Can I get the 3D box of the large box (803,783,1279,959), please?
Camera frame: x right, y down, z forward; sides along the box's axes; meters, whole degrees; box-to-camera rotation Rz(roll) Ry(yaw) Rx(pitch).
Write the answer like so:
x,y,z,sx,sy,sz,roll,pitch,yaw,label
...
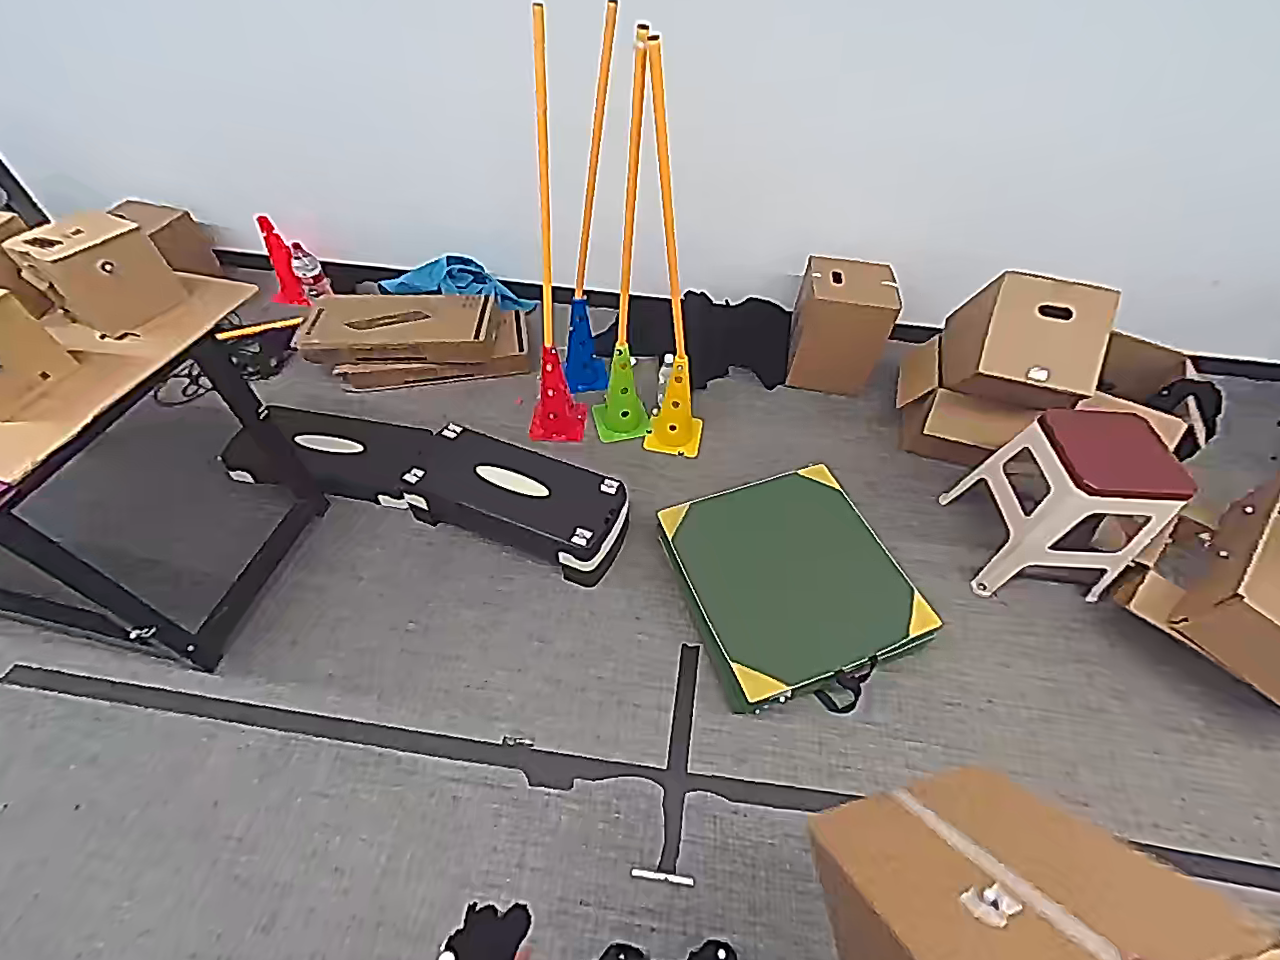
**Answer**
x,y,z,sx,sy,sz,roll,pitch,yaw,label
0.453,0.642,0.655,0.320,0.408,0.320,-12,84,-8,large box
